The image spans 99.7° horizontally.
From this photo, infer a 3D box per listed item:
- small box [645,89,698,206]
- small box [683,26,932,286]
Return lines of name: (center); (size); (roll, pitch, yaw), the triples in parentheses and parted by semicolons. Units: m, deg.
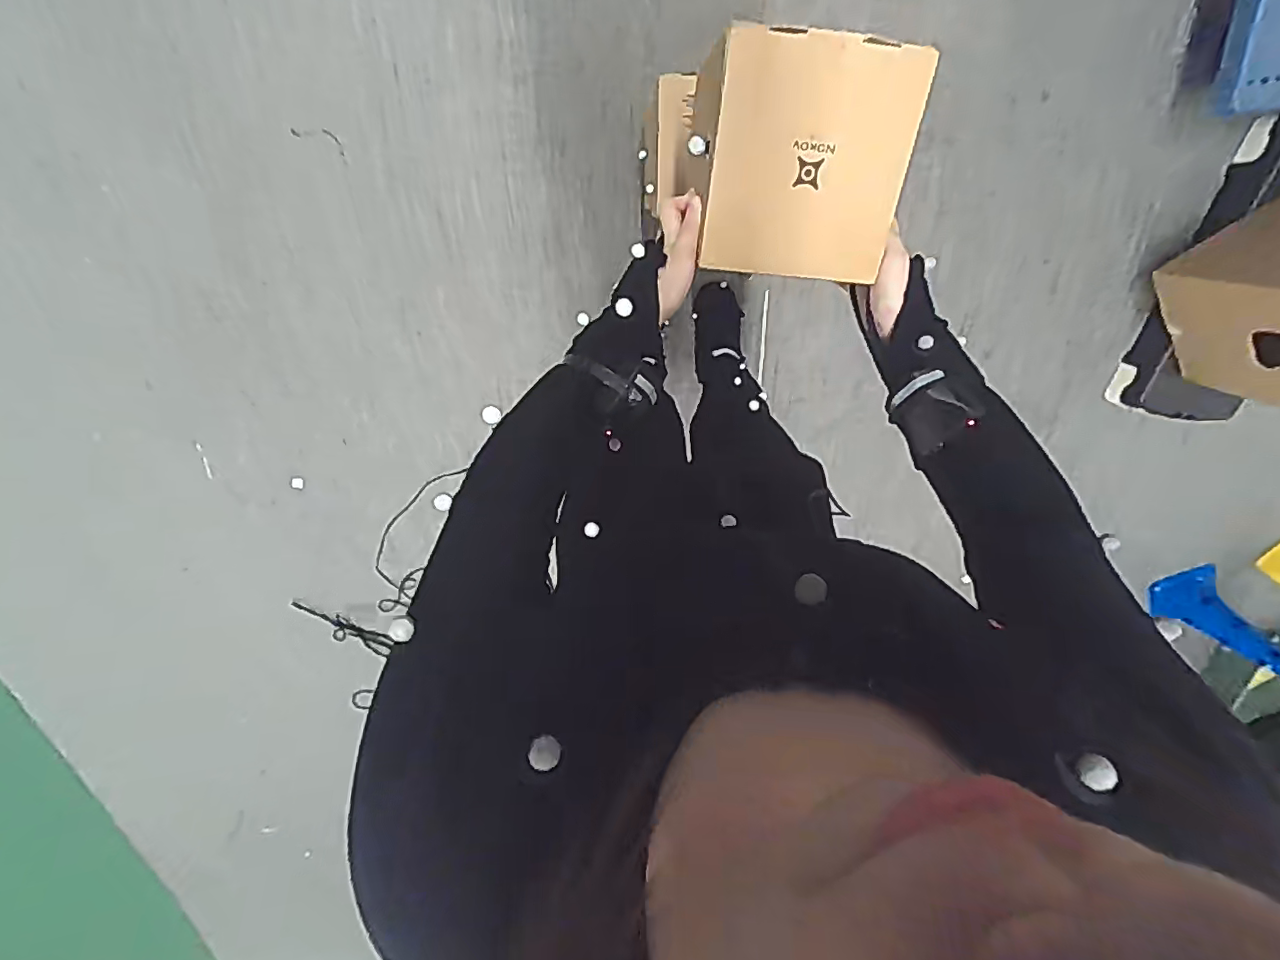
small box: (0.098, -0.580, 0.963); (0.179, 0.176, 0.168); (0, 118, -2)
small box: (0.136, -0.296, 0.520); (0.168, 0.176, 0.179); (3, 118, -4)
